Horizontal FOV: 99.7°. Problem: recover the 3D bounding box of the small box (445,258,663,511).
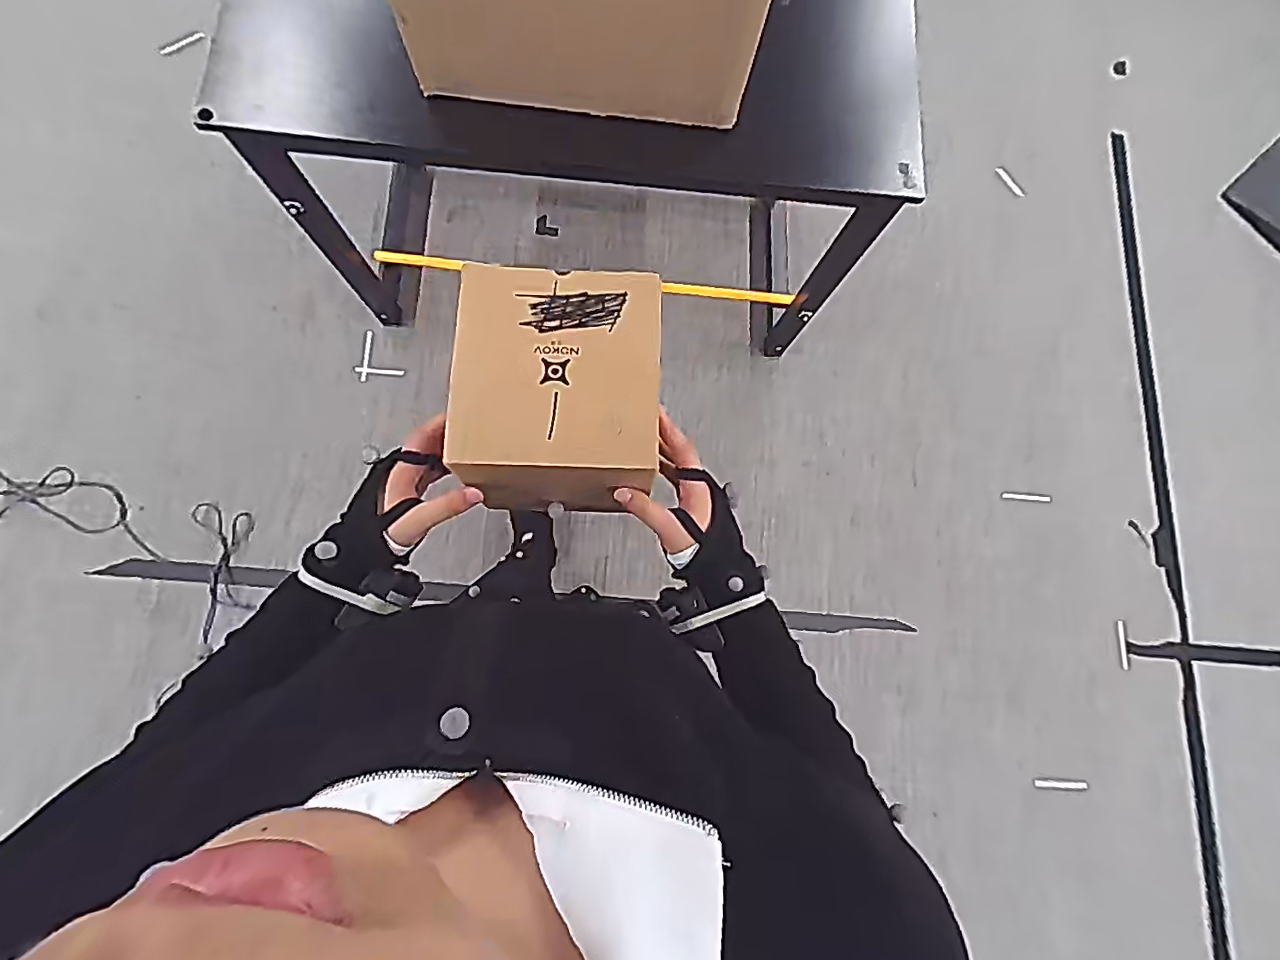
[{"bbox_3d":[-0.070,-0.078,0.511,0.168,0.176,0.179,2,74,-3],"label":"small box"}]
